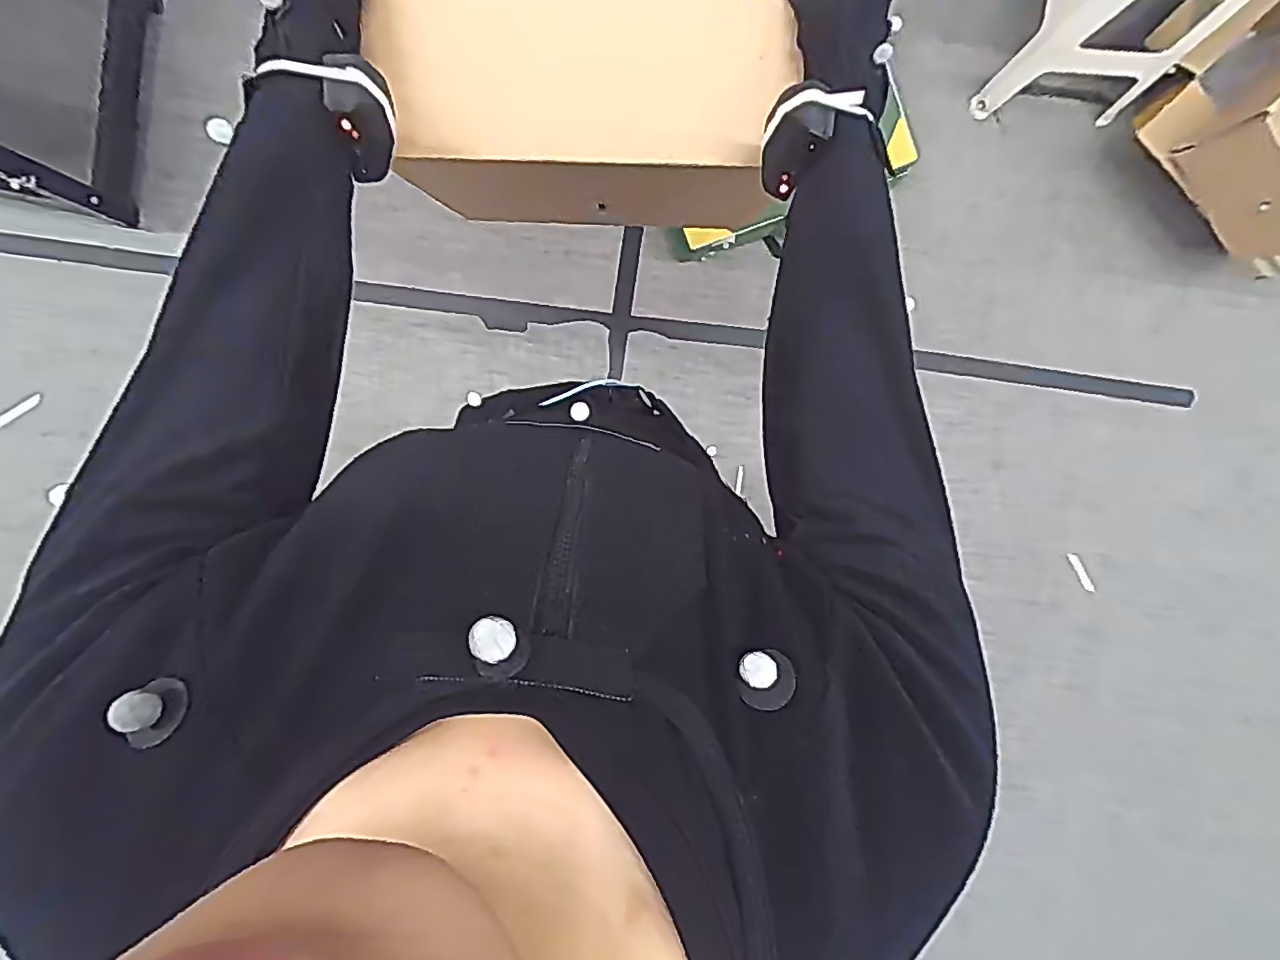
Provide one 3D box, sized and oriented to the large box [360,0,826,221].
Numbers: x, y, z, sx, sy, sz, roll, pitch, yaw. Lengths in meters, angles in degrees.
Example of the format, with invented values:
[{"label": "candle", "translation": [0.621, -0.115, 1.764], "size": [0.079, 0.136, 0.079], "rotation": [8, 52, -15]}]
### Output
[{"label": "large box", "translation": [-0.038, -0.479, 0.595], "size": [0.408, 0.320, 0.320], "rotation": [1, 105, -1]}]
